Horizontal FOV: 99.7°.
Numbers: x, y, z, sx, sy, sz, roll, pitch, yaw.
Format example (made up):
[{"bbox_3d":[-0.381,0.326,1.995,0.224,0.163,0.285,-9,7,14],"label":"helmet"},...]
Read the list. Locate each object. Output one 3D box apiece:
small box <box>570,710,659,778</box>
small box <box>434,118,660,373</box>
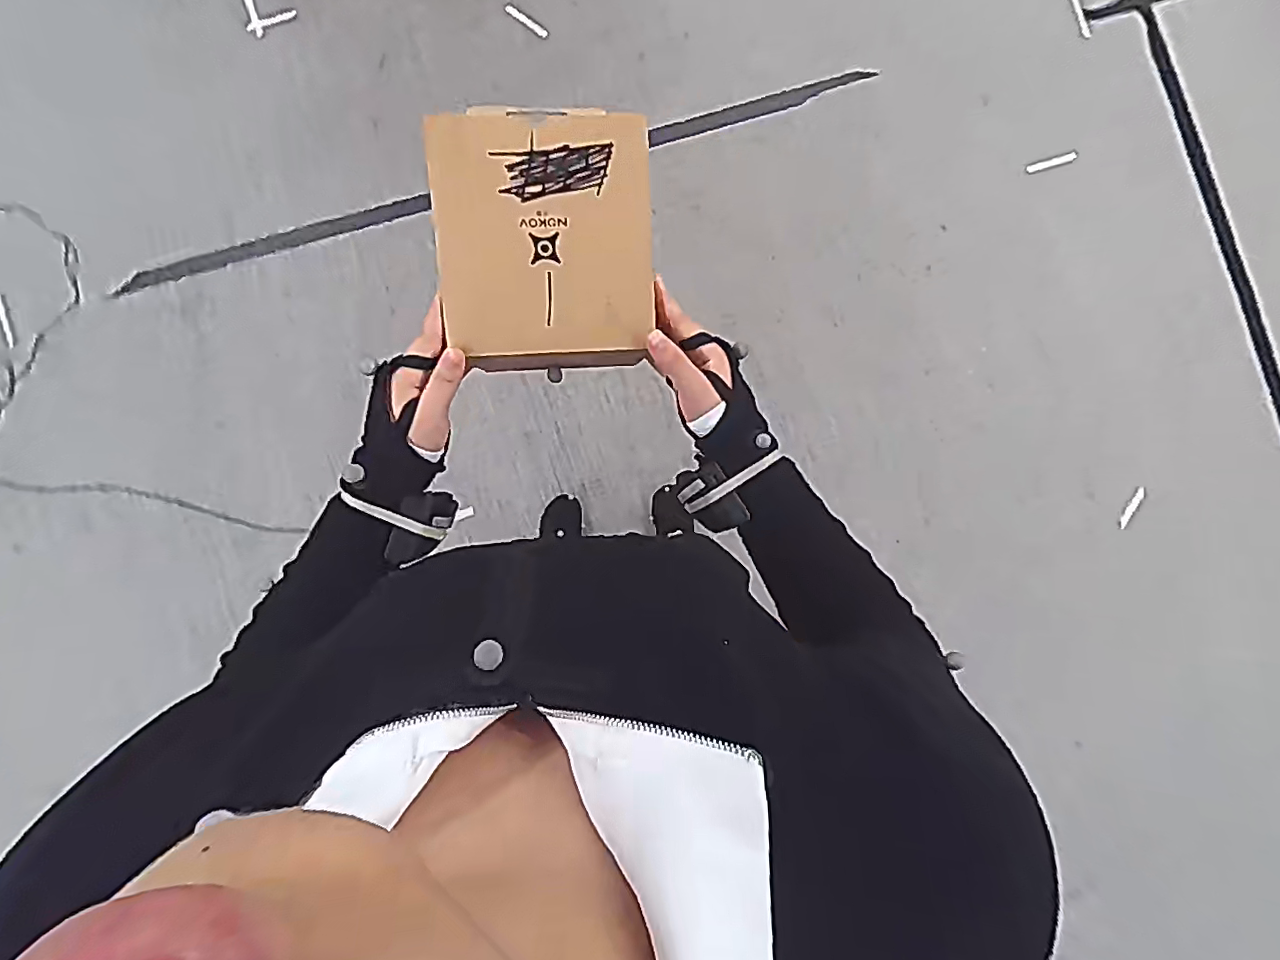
[{"bbox_3d":[-0.057,0.677,1.297,0.168,0.176,0.179,-20,89,-1],"label":"small box"},{"bbox_3d":[-0.077,-0.195,0.495,0.168,0.176,0.179,-4,98,-5],"label":"small box"}]
